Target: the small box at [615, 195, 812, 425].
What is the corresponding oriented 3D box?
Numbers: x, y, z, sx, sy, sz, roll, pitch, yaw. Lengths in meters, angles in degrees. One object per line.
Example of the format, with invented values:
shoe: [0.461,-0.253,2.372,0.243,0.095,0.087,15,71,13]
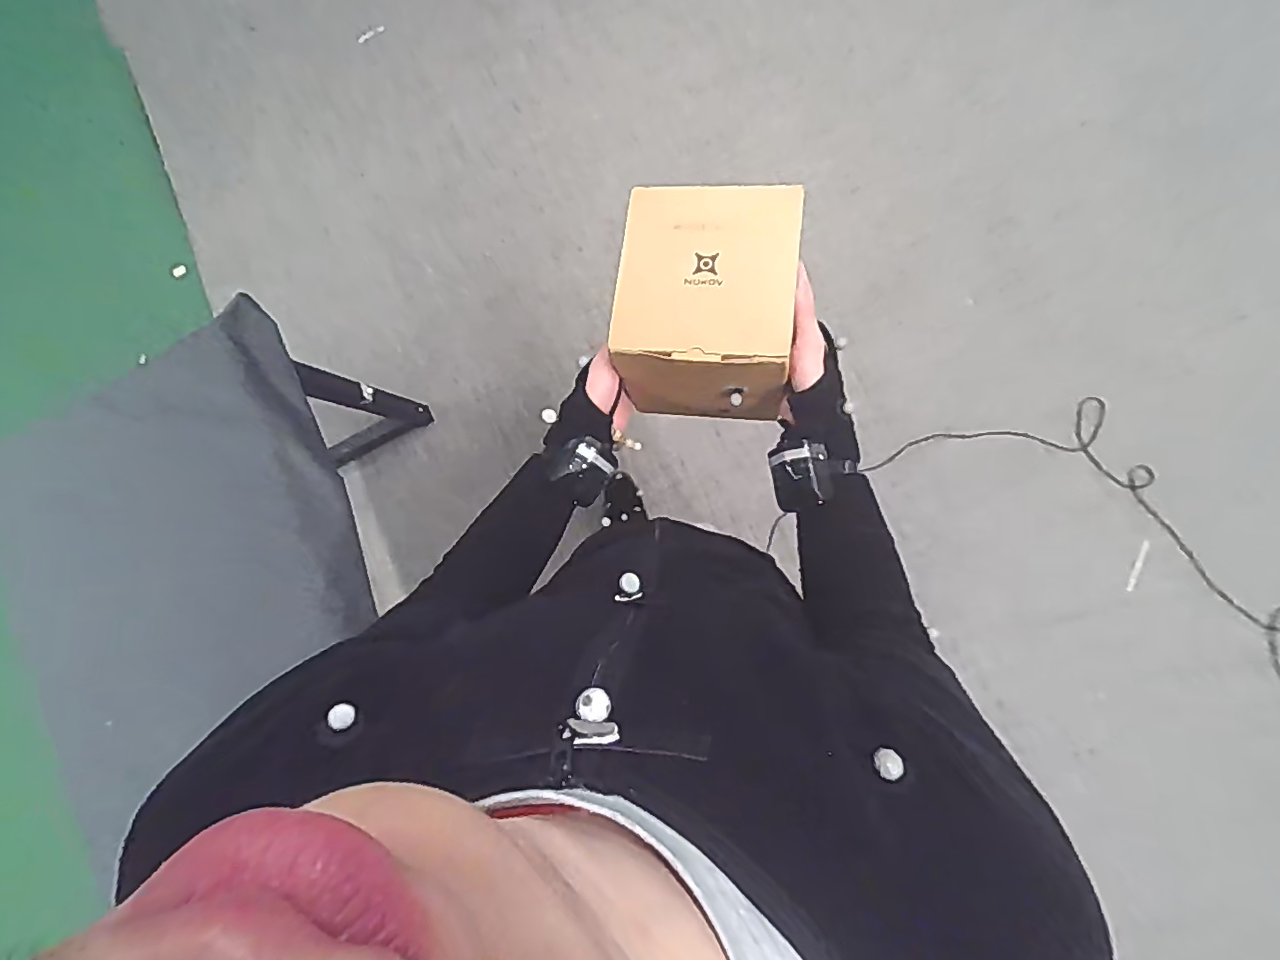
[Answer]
small box: [0.080,-0.169,0.573,0.168,0.176,0.179,6,76,10]
